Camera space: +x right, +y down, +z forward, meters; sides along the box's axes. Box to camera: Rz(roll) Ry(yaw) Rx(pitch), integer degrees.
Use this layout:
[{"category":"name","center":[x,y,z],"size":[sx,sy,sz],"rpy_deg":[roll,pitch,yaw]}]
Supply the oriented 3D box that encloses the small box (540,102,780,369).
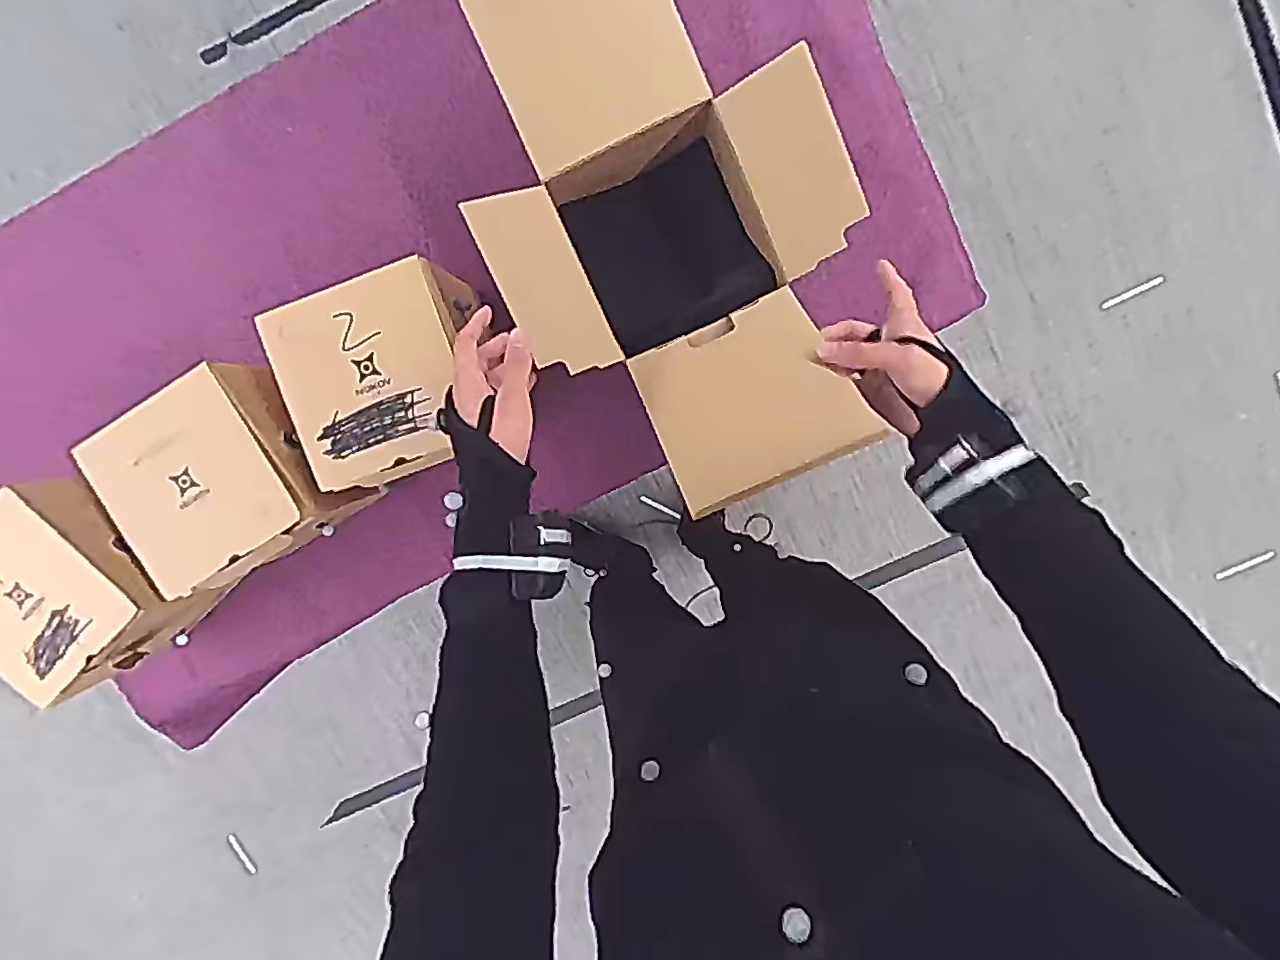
[{"category":"small box","center":[0.019,-0.227,0.557],"size":[0.168,0.176,0.179],"rpy_deg":[-24,97,5]}]
